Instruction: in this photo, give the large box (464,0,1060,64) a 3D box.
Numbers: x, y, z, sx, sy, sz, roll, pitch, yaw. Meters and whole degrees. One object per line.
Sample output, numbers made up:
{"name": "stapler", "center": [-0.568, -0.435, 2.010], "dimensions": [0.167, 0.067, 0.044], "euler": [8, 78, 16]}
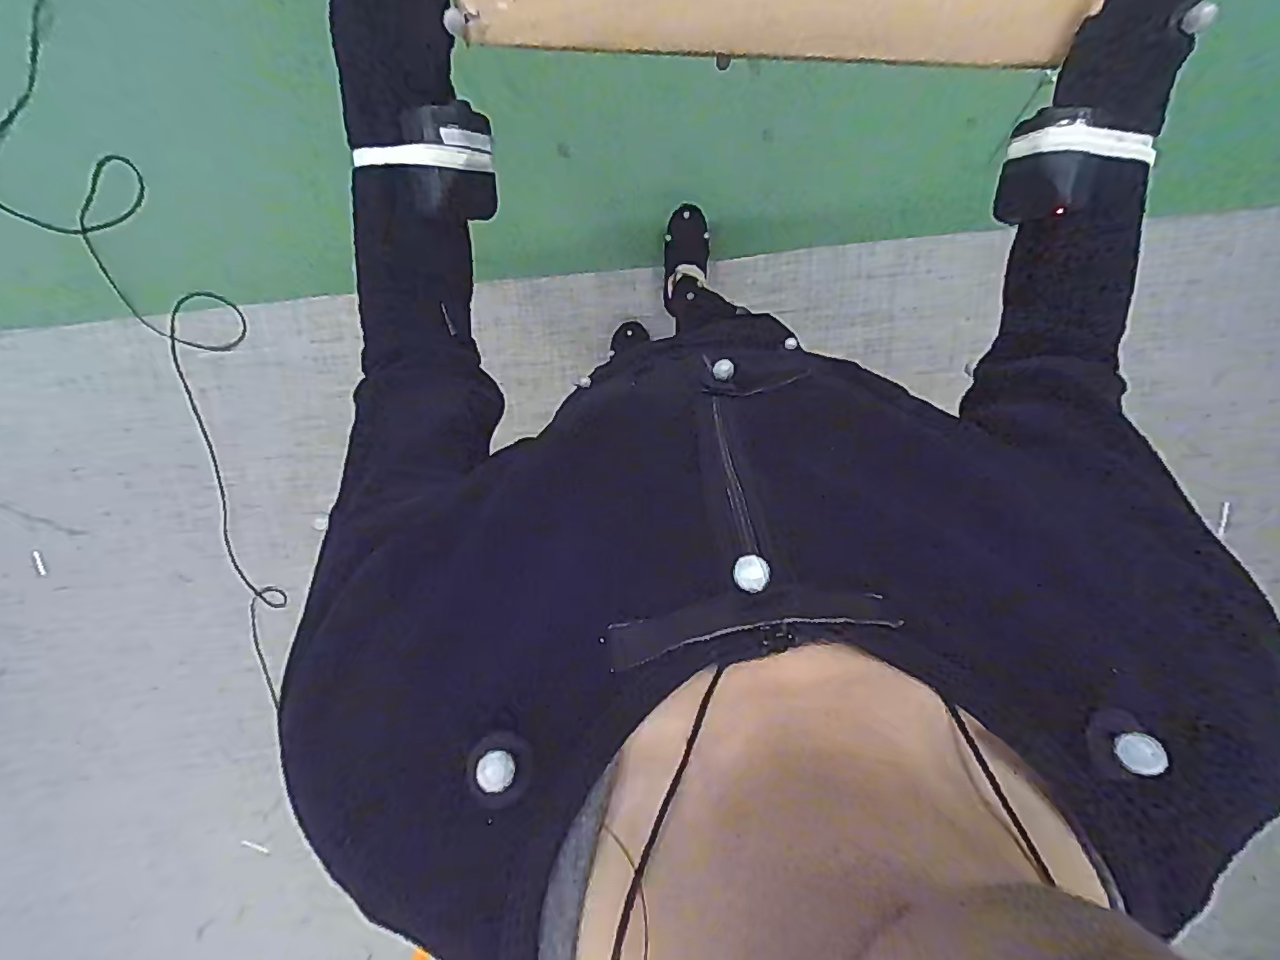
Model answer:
{"name": "large box", "center": [0.078, -0.505, 0.379], "dimensions": [0.408, 0.320, 0.320], "euler": [-2, 131, -5]}
